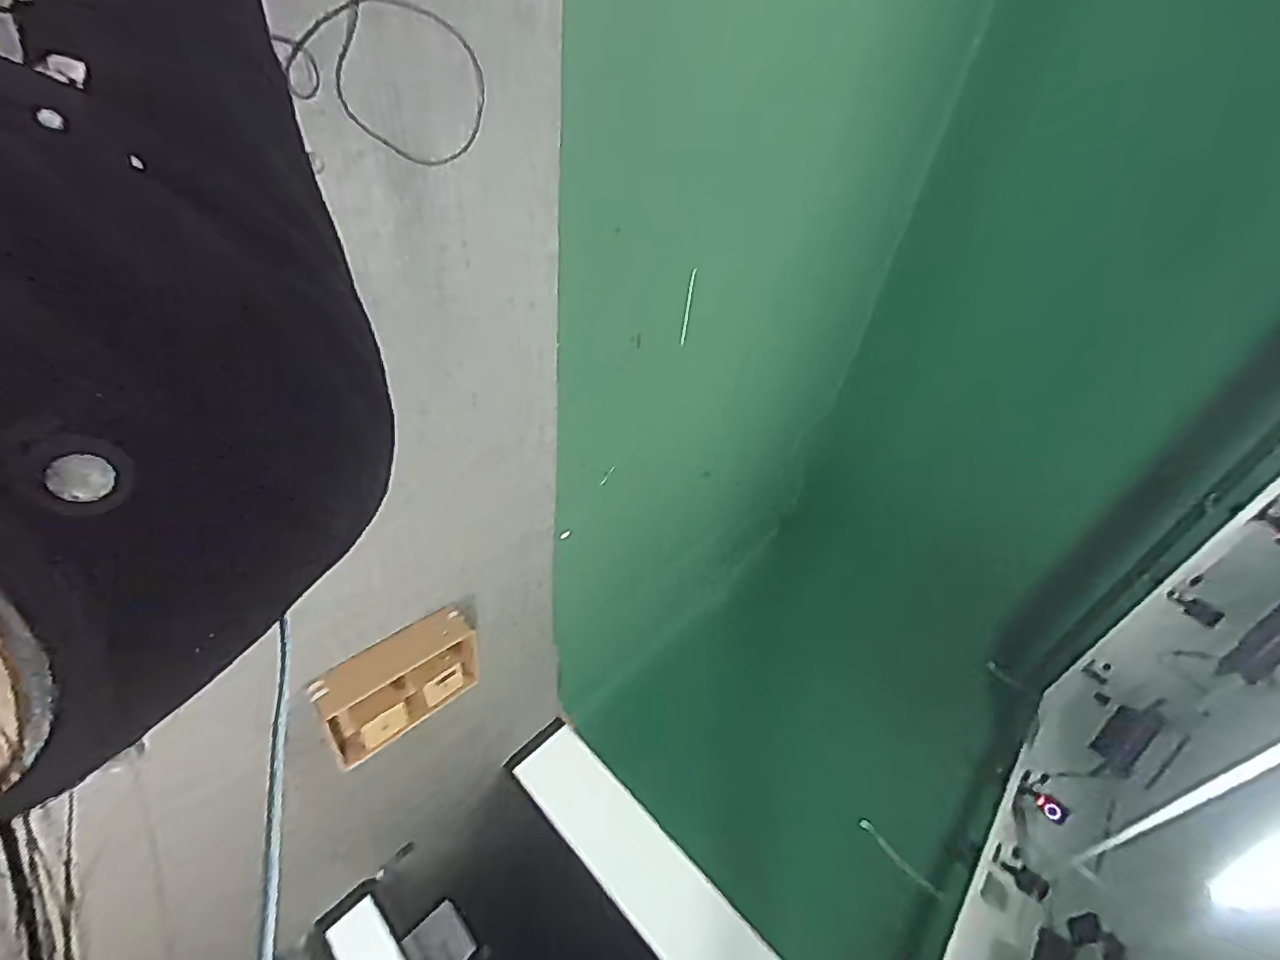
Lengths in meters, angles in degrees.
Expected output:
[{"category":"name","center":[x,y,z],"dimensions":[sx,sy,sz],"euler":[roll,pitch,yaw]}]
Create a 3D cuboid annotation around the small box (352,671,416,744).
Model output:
[{"category":"small box","center":[-1.032,0.912,2.183],"dimensions":[0.168,0.176,0.179],"euler":[-29,140,-39]}]
